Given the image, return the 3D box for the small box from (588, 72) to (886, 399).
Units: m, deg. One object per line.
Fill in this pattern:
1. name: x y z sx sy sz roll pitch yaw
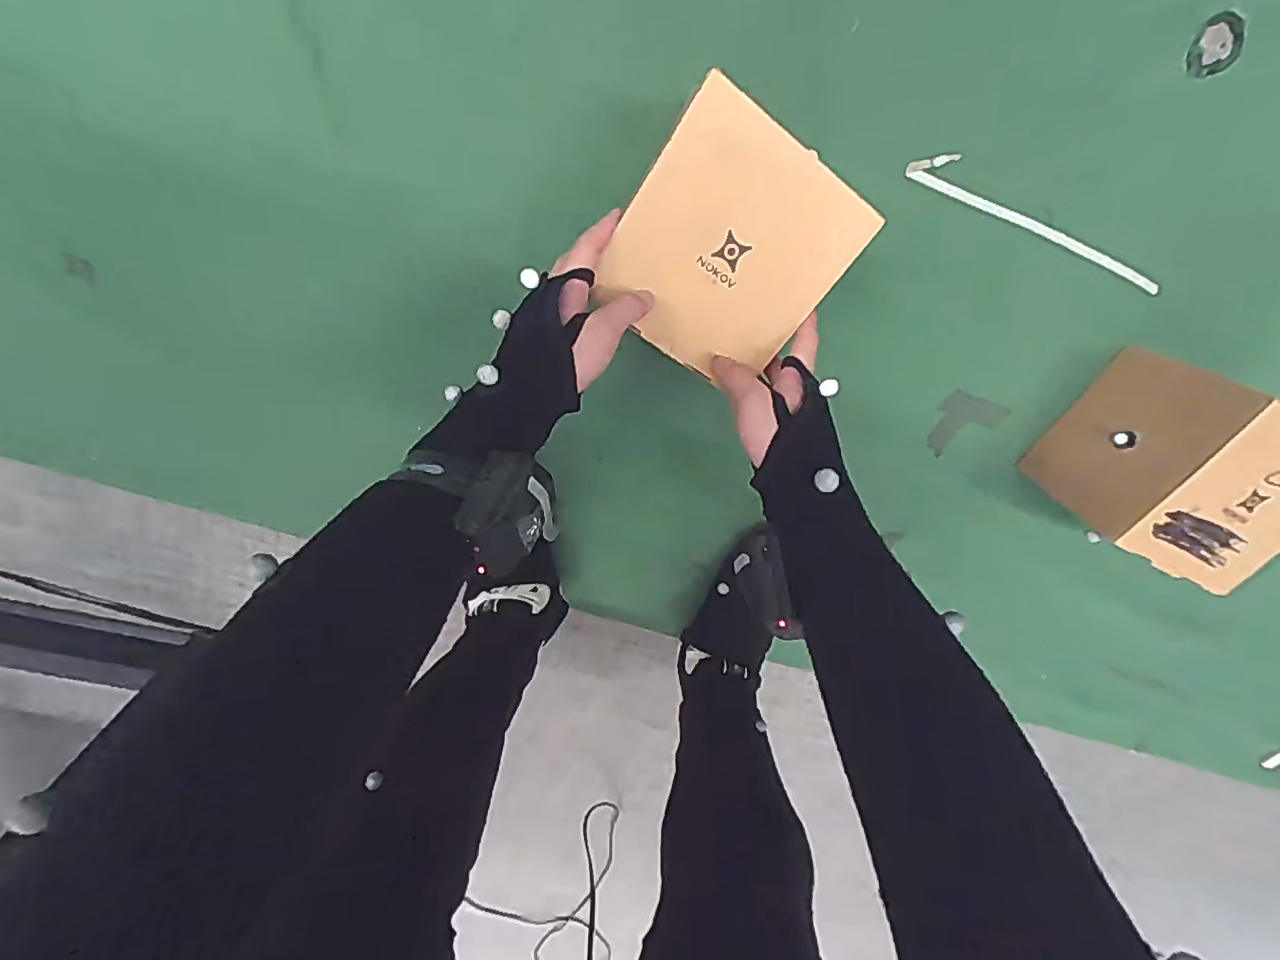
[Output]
1. small box: 0.070 -0.210 0.481 0.168 0.176 0.179 31 117 -17
